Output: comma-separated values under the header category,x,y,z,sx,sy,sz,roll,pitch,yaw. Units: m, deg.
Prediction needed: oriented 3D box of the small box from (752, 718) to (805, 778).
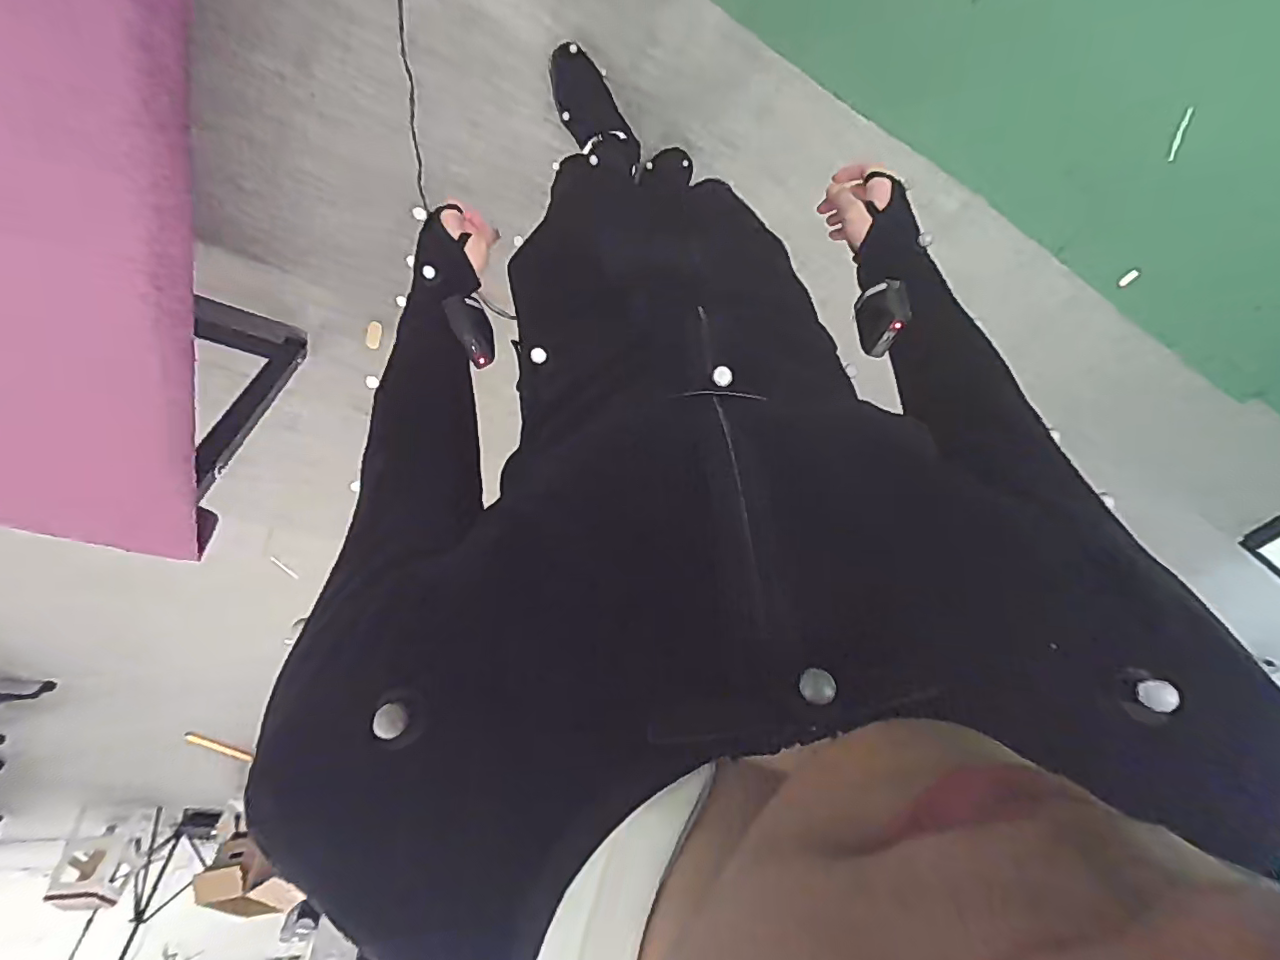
category,x,y,z,sx,sy,sz,roll,pitch,yaw
small box,0.582,1.122,2.277,0.168,0.176,0.179,-16,132,8
